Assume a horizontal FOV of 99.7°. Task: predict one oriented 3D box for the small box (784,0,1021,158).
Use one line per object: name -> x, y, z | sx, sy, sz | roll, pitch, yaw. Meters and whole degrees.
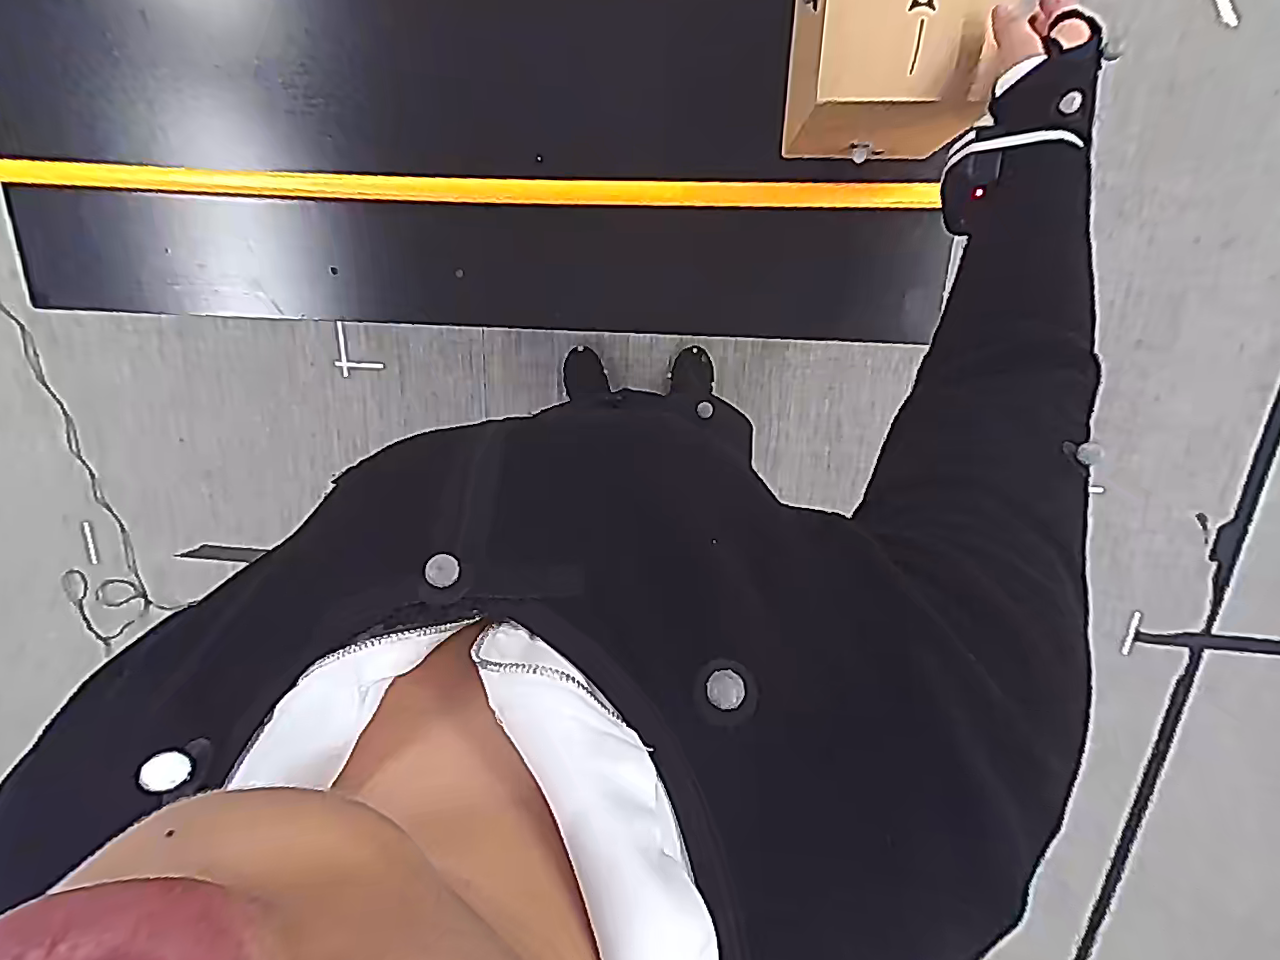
small box -> 0.246, -0.444, 0.534 | 0.168, 0.176, 0.179 | 3, 106, 3
